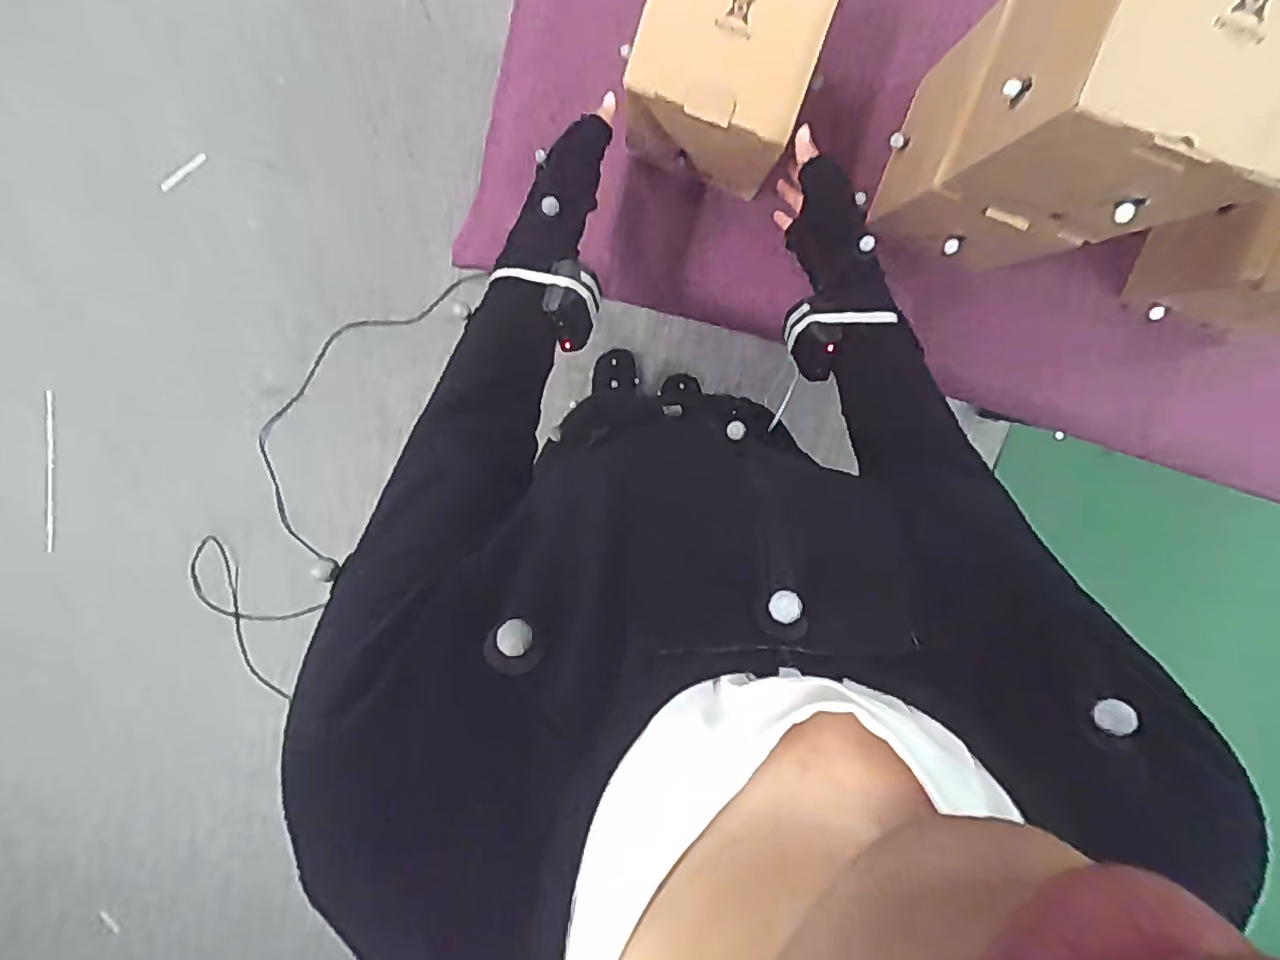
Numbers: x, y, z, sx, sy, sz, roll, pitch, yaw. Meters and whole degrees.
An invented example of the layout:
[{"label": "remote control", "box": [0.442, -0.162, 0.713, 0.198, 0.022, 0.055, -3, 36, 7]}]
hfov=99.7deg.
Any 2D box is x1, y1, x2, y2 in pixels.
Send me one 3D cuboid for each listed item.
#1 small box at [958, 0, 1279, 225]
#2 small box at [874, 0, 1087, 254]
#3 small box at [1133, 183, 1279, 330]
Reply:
[{"label": "small box", "box": [0.384, -0.320, 0.411, 0.168, 0.176, 0.179, 18, 102, -5]}, {"label": "small box", "box": [0.376, -0.358, 0.570, 0.168, 0.176, 0.179, 19, 103, -5]}, {"label": "small box", "box": [0.707, -0.272, 0.588, 0.168, 0.176, 0.179, 19, 103, -6]}]
